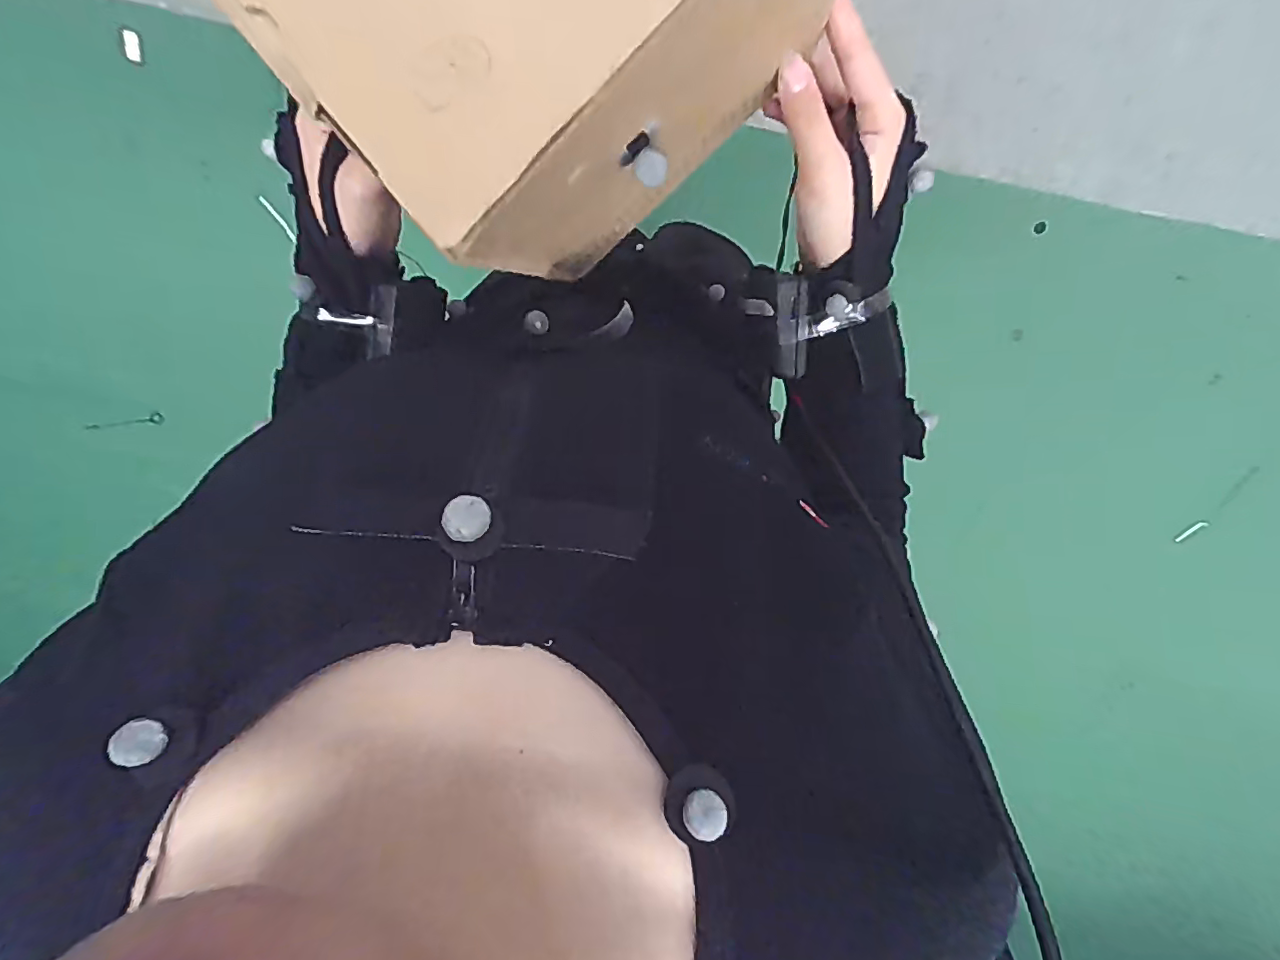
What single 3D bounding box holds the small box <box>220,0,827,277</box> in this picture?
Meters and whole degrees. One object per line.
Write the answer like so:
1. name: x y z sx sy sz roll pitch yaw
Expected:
1. small box: -0.035 -0.203 0.220 0.179 0.176 0.168 -37 99 18
